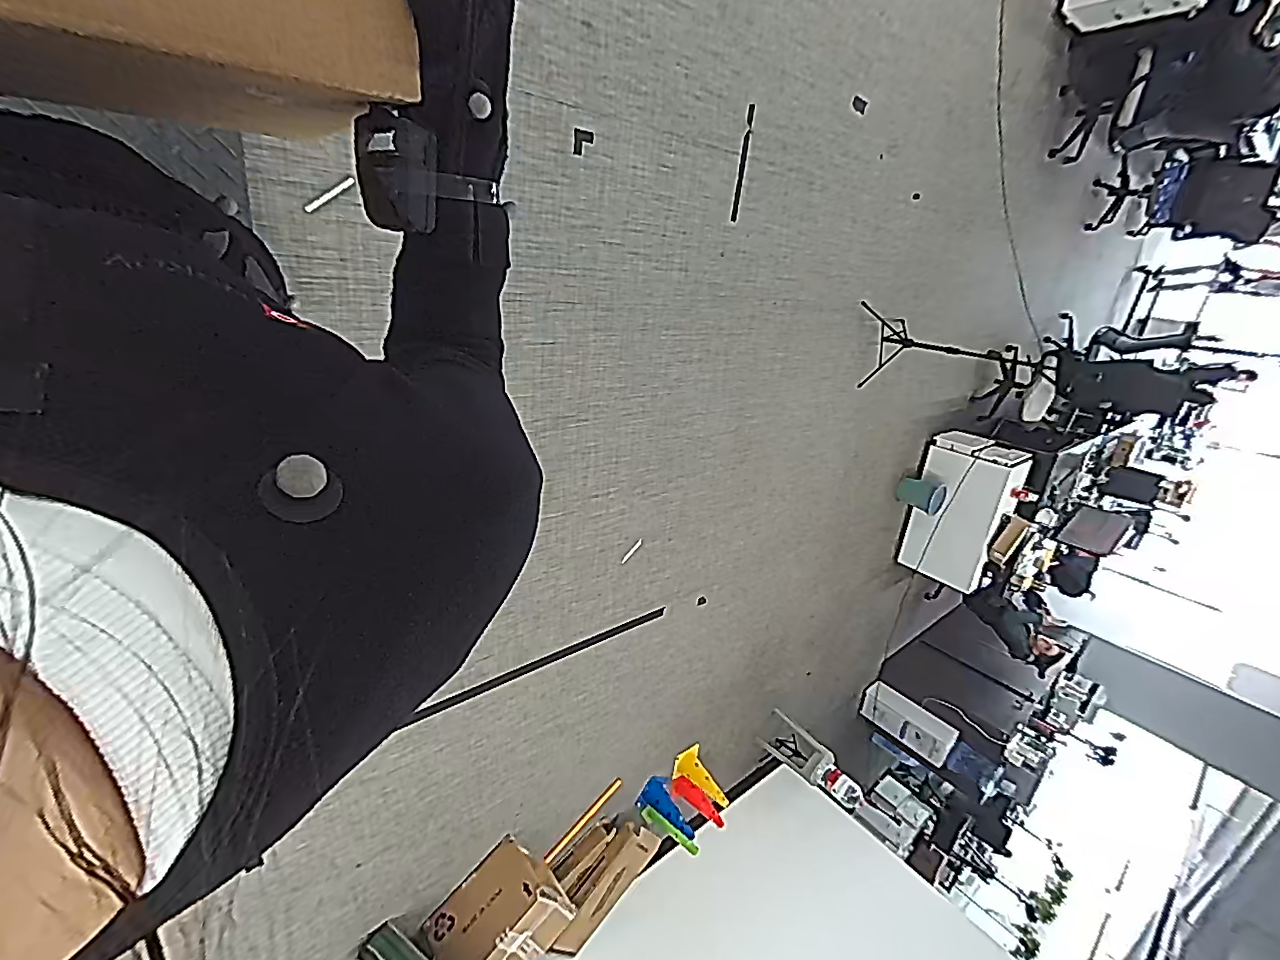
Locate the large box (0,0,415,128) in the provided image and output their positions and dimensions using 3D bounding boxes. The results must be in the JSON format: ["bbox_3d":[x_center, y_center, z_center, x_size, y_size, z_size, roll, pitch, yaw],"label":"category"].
[{"bbox_3d":[-0.373,-0.381,0.247,0.408,0.320,0.320,-15,122,-36],"label":"large box"}]
